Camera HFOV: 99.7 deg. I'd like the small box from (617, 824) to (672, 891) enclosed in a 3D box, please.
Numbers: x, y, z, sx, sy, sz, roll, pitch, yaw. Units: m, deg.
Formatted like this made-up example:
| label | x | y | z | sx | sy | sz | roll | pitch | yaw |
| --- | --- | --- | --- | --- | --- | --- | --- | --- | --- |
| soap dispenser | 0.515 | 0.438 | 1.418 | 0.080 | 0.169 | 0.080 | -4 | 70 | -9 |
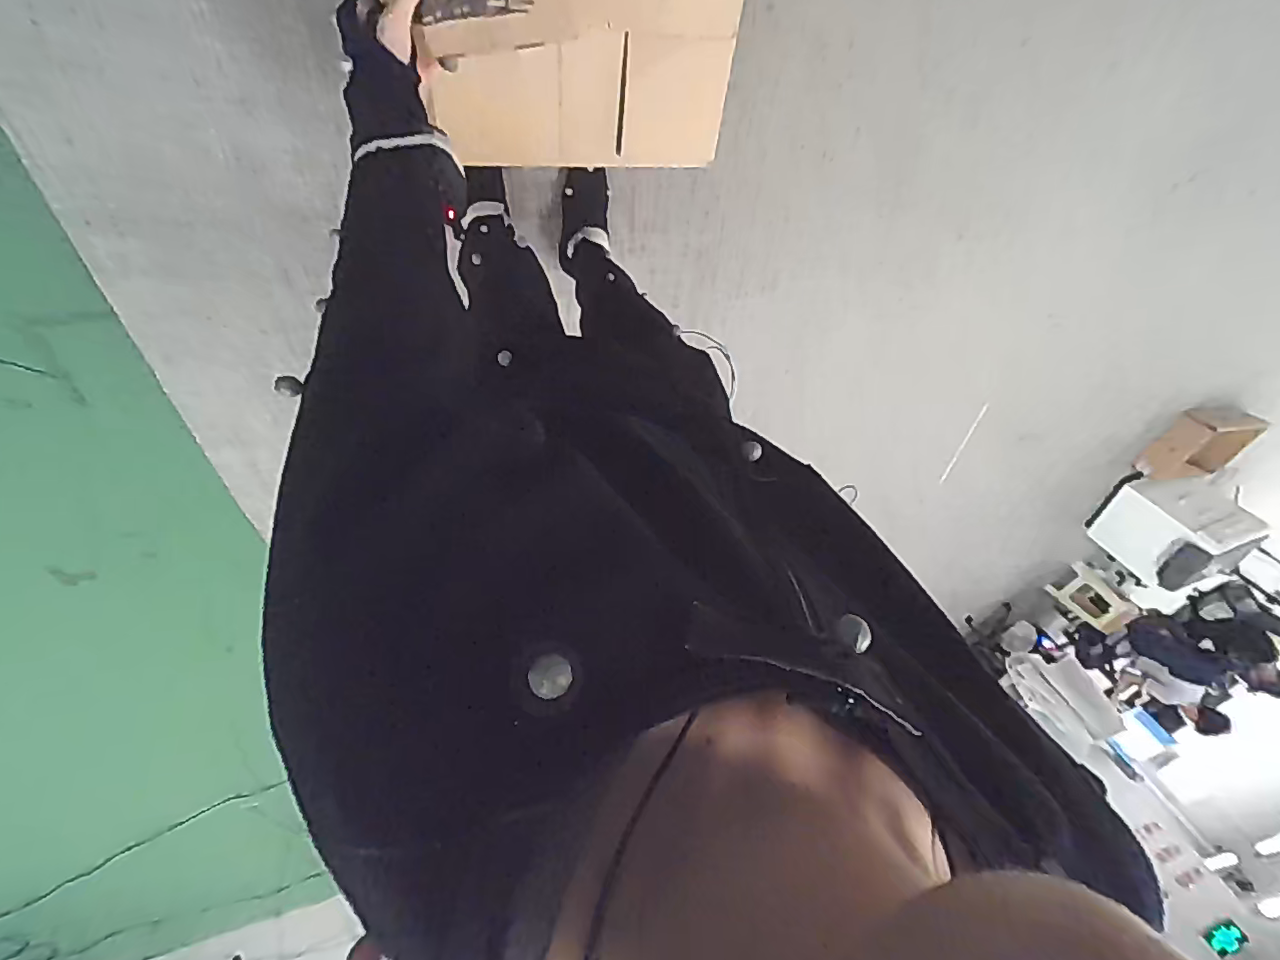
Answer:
| label | x | y | z | sx | sy | sz | roll | pitch | yaw |
| --- | --- | --- | --- | --- | --- | --- | --- | --- | --- |
| small box | 0.015 | 1.567 | 2.250 | 0.179 | 0.176 | 0.168 | -10 | 134 | -16 |
